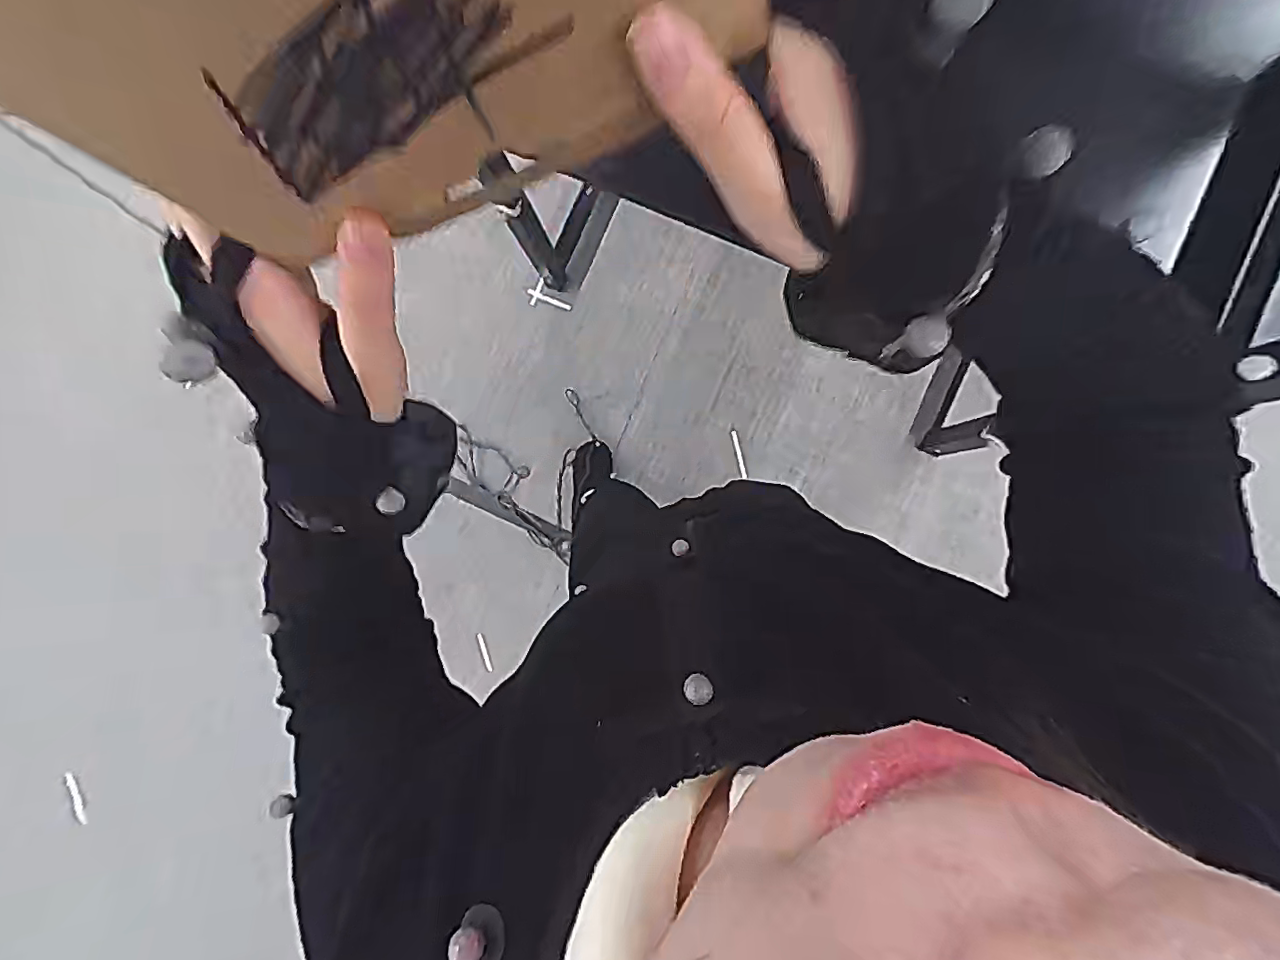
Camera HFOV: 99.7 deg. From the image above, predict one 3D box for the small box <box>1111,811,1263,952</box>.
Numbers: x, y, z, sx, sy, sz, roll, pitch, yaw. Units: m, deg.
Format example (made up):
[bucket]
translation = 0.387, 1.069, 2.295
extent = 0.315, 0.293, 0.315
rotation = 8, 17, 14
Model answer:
[small box]
translation = 1.291, 0.948, 1.294
extent = 0.168, 0.176, 0.179
rotation = 24, 91, 5
